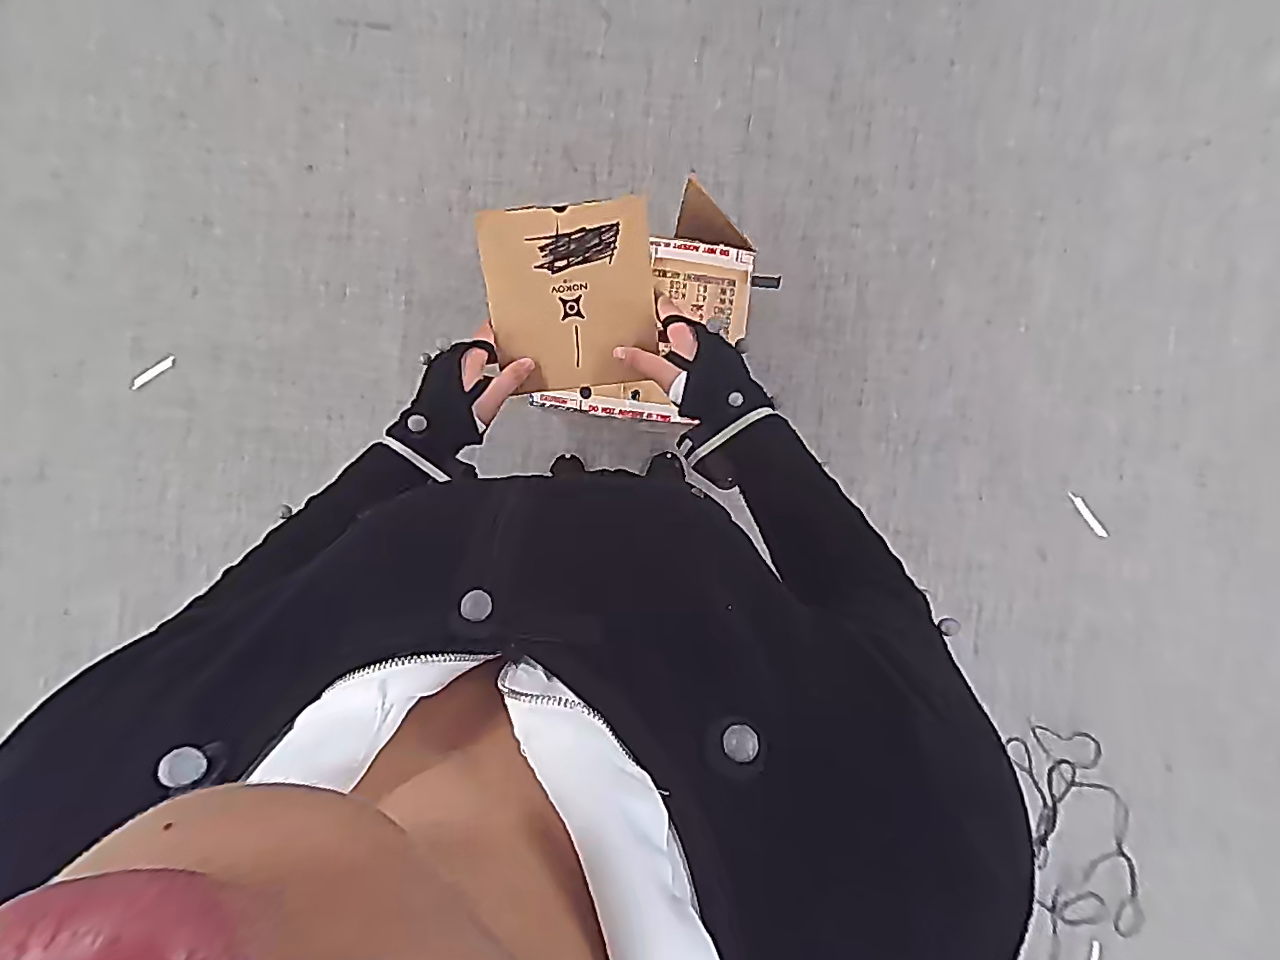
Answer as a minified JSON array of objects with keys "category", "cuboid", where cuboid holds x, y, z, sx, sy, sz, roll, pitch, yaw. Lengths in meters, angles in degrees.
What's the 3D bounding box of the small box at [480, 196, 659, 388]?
[{"category":"small box","cuboid":[-0.071,-0.199,0.614,0.168,0.176,0.179,-5,102,-1]}]
